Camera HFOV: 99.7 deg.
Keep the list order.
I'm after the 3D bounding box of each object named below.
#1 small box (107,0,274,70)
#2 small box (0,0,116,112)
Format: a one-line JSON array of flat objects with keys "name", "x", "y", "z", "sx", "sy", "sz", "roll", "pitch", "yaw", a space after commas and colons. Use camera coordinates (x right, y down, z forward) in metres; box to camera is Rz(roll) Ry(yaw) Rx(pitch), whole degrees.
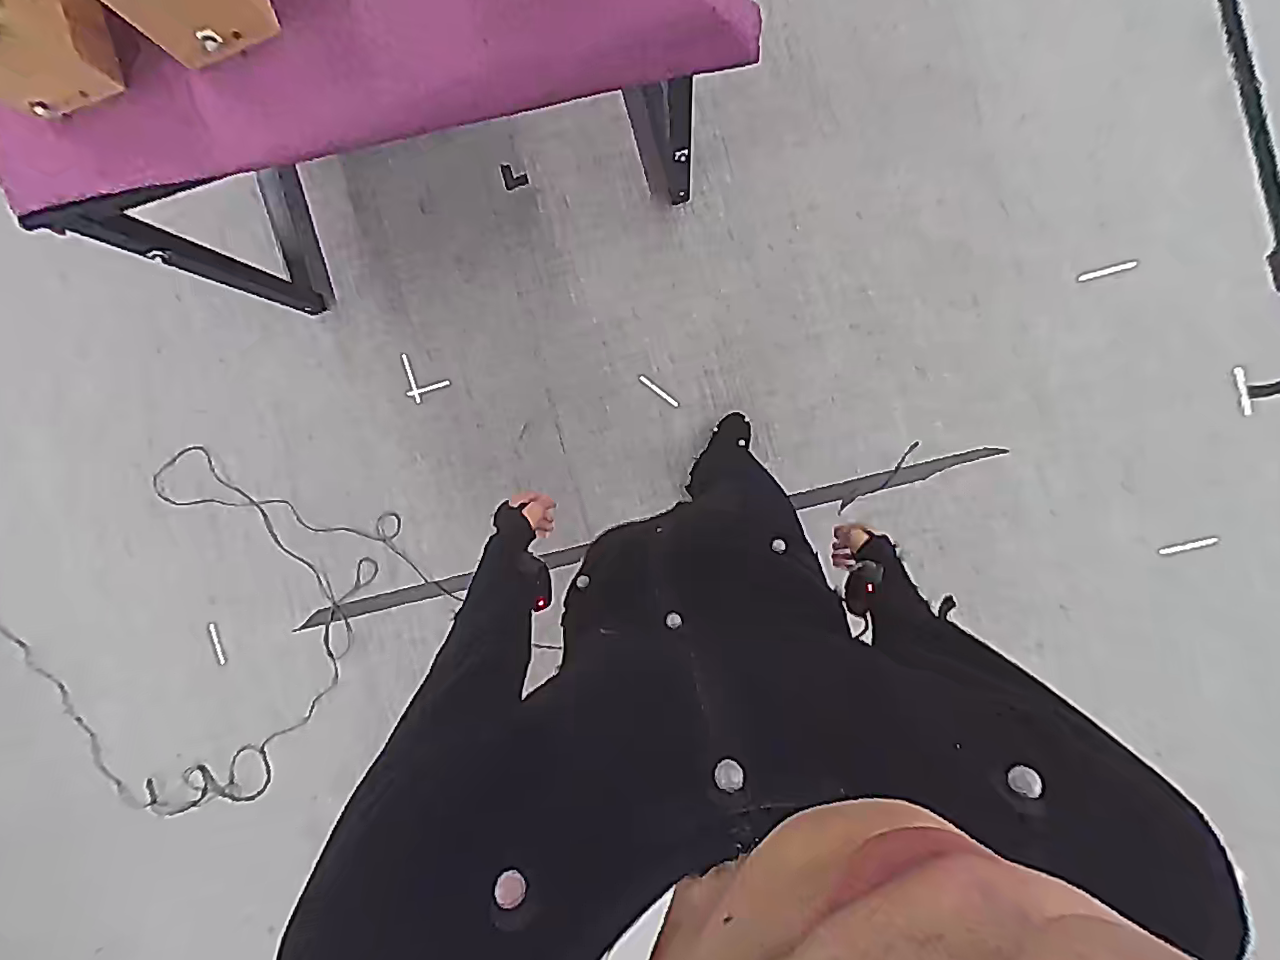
[{"name": "small box", "x": -0.693, "y": -0.768, "z": 0.795, "sx": 0.168, "sy": 0.176, "sz": 0.179, "roll": -19, "pitch": 92, "yaw": 6}, {"name": "small box", "x": -0.958, "y": -0.698, "z": 0.814, "sx": 0.168, "sy": 0.176, "sz": 0.179, "roll": -17, "pitch": 91, "yaw": 4}]
